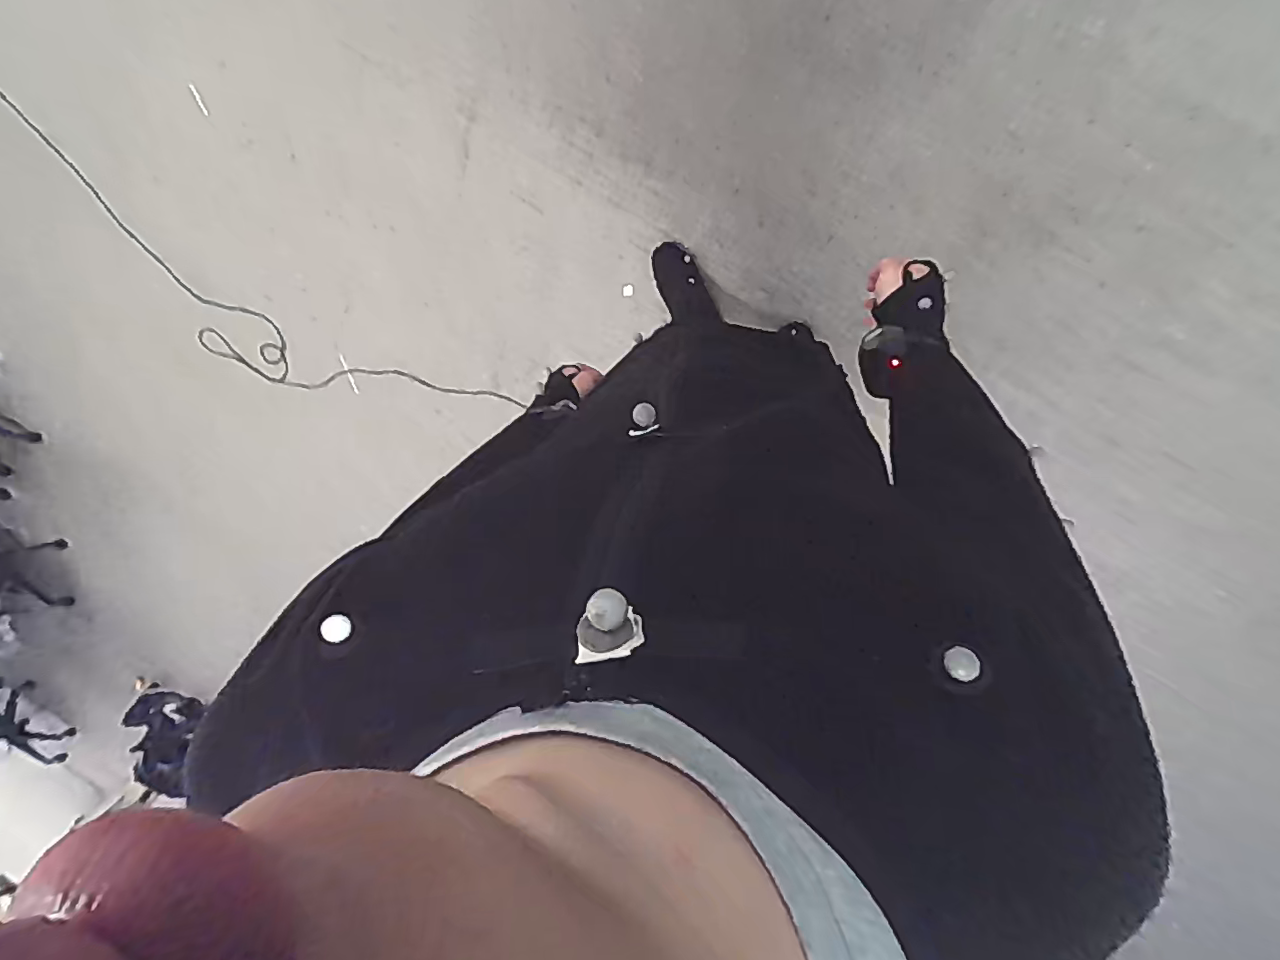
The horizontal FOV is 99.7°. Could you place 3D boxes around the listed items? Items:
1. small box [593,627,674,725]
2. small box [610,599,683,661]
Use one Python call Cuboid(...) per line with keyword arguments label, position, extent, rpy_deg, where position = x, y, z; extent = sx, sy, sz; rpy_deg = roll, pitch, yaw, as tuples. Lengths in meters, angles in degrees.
Cuboid(label="small box", position=(-0.013, 0.583, 1.622), extent=(0.168, 0.176, 0.179), rpy_deg=(28, 116, 4))
Cuboid(label="small box", position=(0.027, 0.529, 1.773), extent=(0.168, 0.176, 0.179), rpy_deg=(28, 115, 4))
